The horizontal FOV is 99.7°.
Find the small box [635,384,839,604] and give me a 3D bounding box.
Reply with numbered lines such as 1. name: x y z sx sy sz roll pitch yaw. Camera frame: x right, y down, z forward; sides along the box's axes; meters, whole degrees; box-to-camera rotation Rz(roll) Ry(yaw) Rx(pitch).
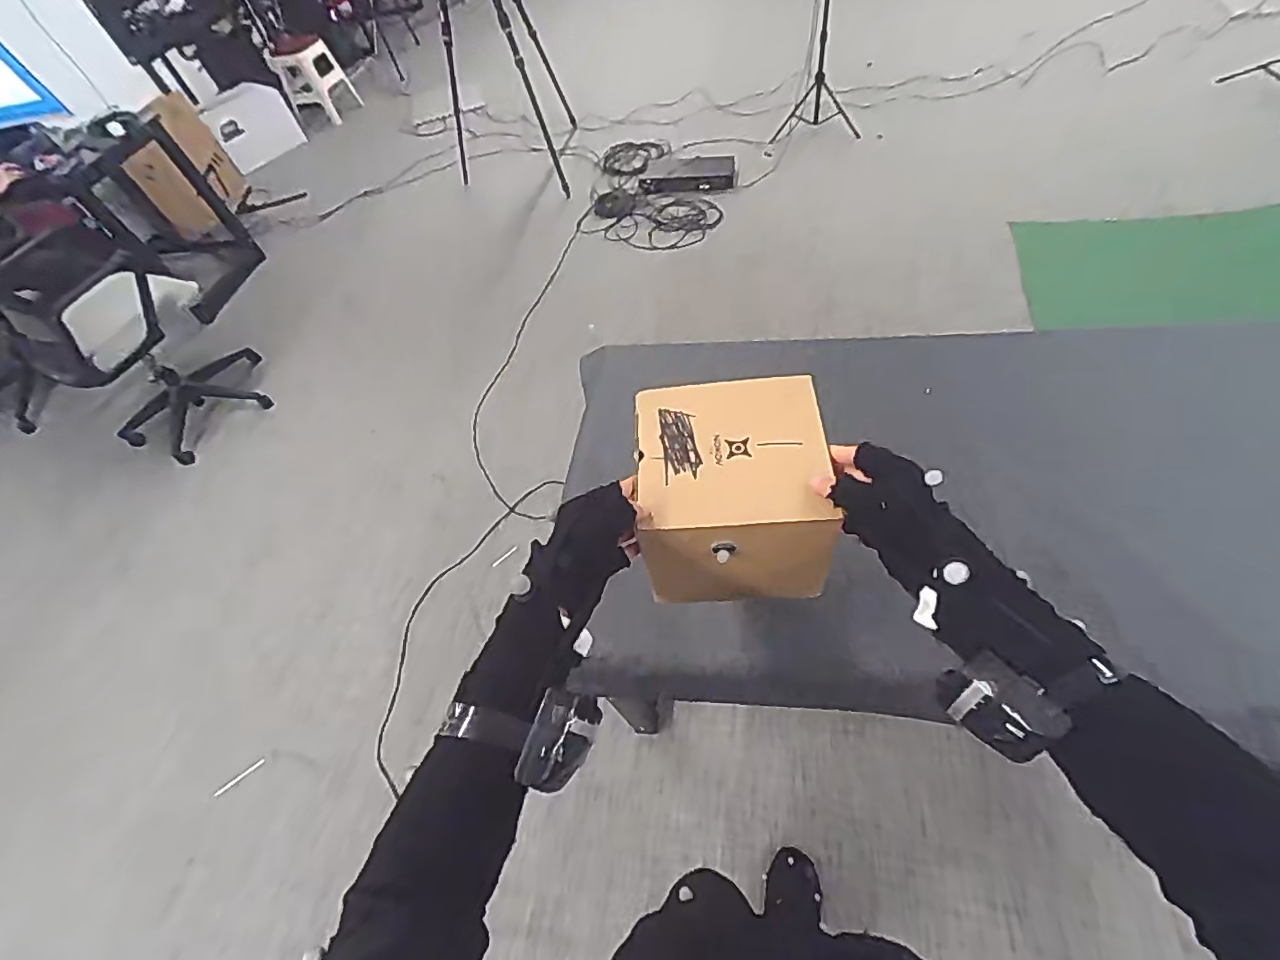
1. small box: 0.094 0.023 0.570 0.179 0.176 0.168 -4 55 6
